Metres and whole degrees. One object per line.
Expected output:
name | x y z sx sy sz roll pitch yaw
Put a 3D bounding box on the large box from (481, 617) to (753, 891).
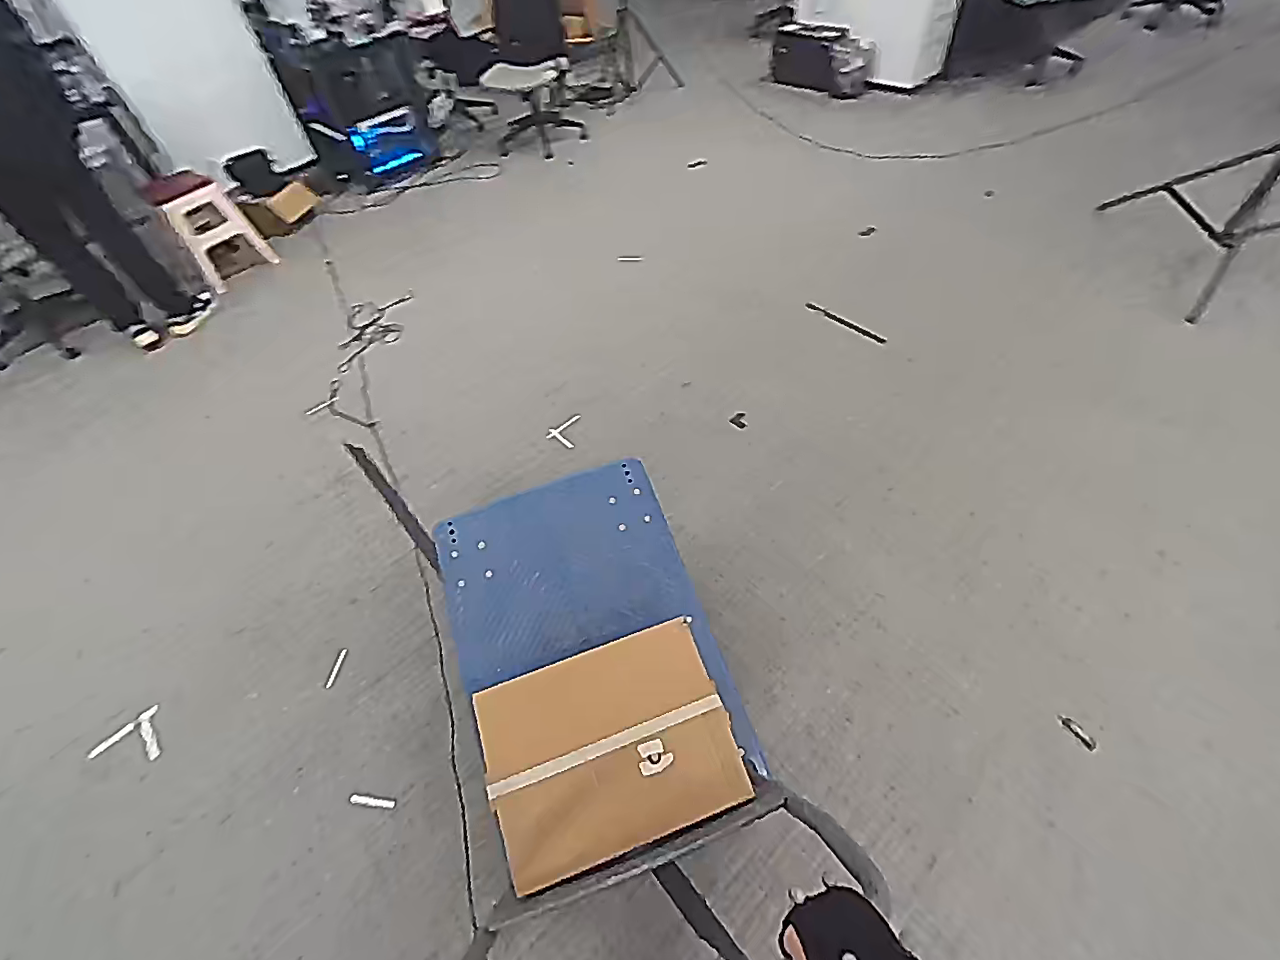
large box | -0.048 0.516 1.066 0.408 0.320 0.320 -19 67 -9
